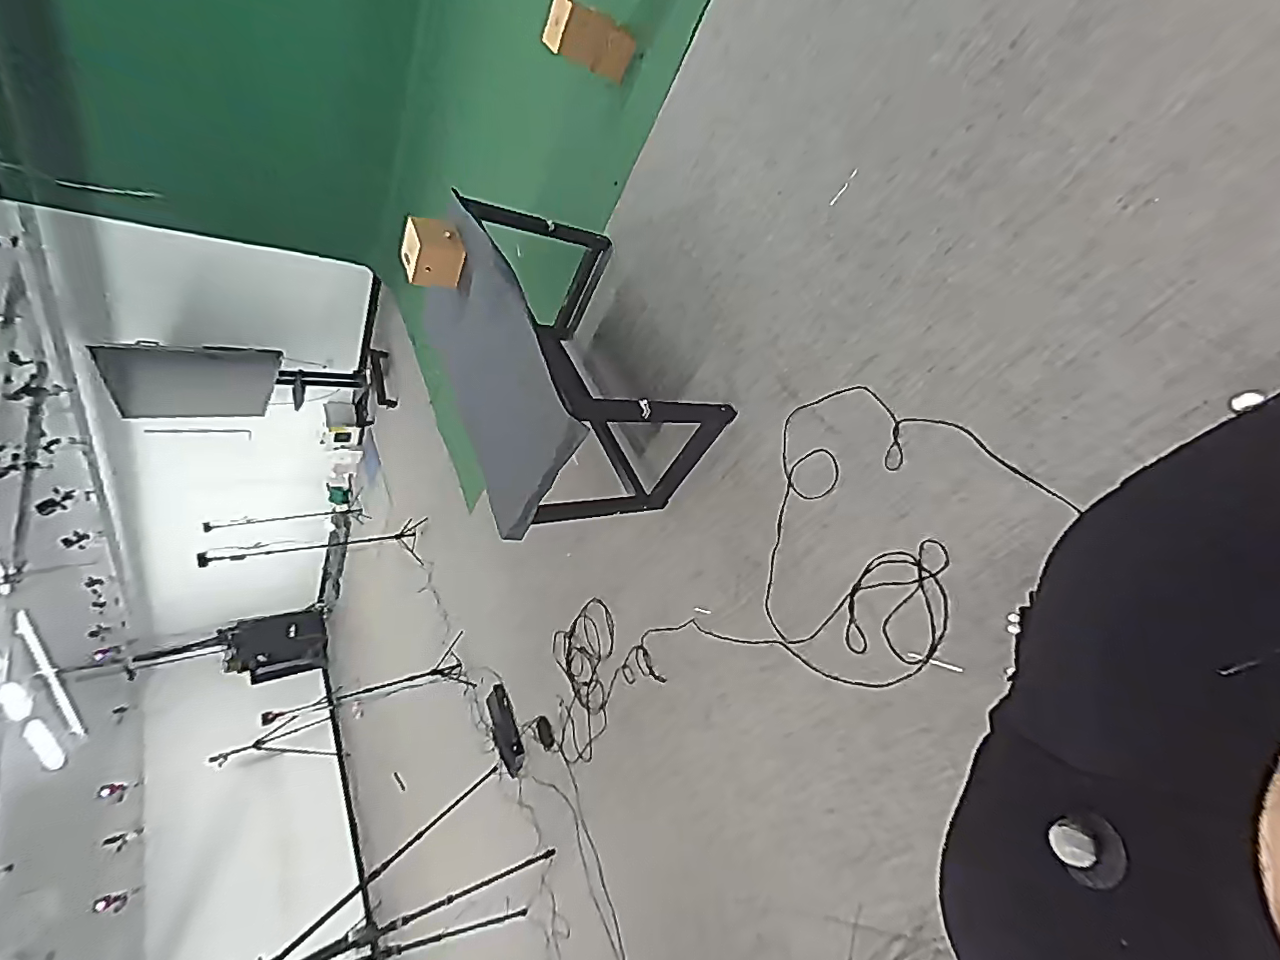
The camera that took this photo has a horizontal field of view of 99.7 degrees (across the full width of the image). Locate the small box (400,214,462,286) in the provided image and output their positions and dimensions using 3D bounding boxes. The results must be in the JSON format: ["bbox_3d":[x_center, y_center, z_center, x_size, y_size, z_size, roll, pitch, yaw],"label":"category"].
[{"bbox_3d":[-0.776,-0.847,2.007,0.179,0.176,0.168,-50,57,43],"label":"small box"}]

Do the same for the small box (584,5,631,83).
[{"bbox_3d":[-0.159,-1.863,2.319,0.179,0.176,0.168,-48,58,42],"label":"small box"}]

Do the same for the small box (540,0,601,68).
[{"bbox_3d":[-0.280,-1.843,2.212,0.168,0.176,0.179,59,134,29],"label":"small box"}]
